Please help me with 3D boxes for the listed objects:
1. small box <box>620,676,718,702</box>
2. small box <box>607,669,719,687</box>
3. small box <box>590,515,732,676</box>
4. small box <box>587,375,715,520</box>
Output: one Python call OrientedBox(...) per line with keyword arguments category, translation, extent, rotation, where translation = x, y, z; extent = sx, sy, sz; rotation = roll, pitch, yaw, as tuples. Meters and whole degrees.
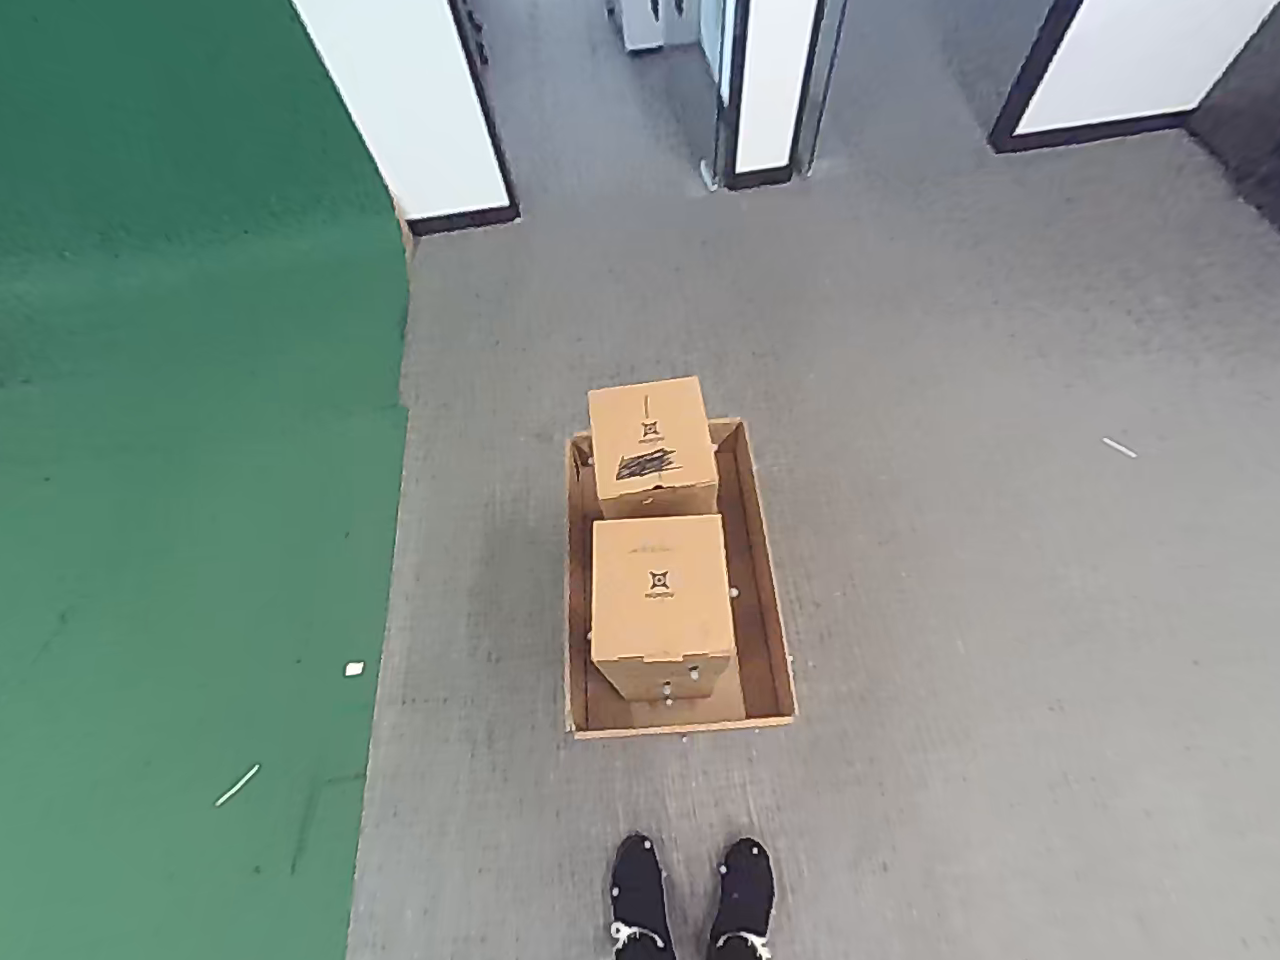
OrientedBox(category="small box", translation=(0.050, 0.307, 1.009), extent=(0.168, 0.176, 0.179), rotation=(-5, 62, 3))
OrientedBox(category="small box", translation=(0.037, 0.232, 0.865), extent=(0.168, 0.176, 0.179), rotation=(-4, 63, 2))
OrientedBox(category="small box", translation=(0.029, 0.161, 0.717), extent=(0.168, 0.176, 0.179), rotation=(-3, 62, 3))
OrientedBox(category="small box", translation=(0.018, -0.031, 0.824), extent=(0.168, 0.176, 0.179), rotation=(-8, 65, 1))
